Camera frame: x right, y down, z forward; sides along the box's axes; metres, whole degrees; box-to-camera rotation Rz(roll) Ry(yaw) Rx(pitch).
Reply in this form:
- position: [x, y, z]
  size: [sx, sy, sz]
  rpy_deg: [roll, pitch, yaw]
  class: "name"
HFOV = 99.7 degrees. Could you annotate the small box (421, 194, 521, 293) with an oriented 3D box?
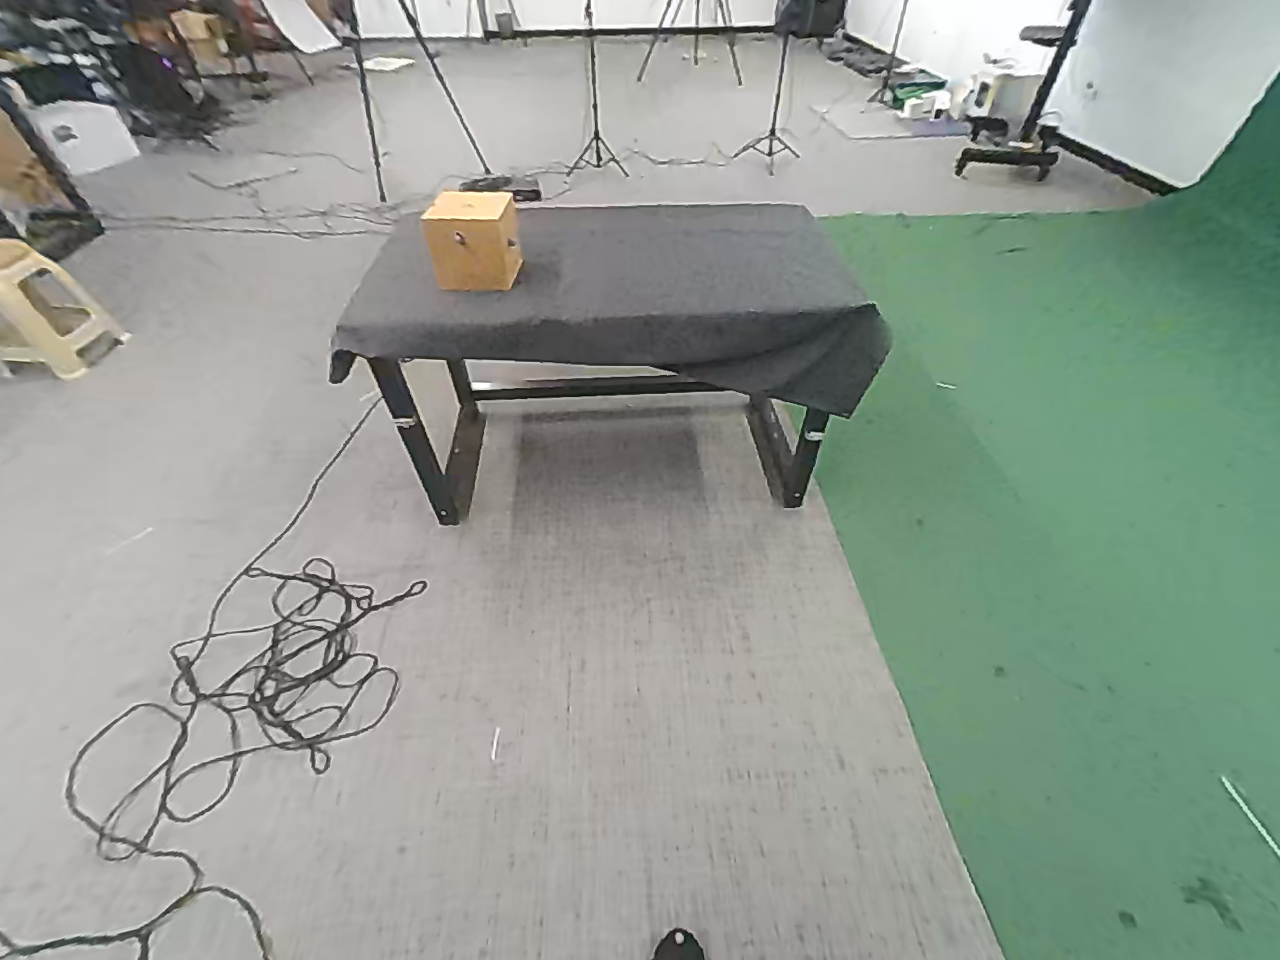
- position: [-0.390, -0.561, 1.290]
  size: [0.179, 0.176, 0.168]
  rpy_deg: [2, 46, 1]
  class: "small box"
